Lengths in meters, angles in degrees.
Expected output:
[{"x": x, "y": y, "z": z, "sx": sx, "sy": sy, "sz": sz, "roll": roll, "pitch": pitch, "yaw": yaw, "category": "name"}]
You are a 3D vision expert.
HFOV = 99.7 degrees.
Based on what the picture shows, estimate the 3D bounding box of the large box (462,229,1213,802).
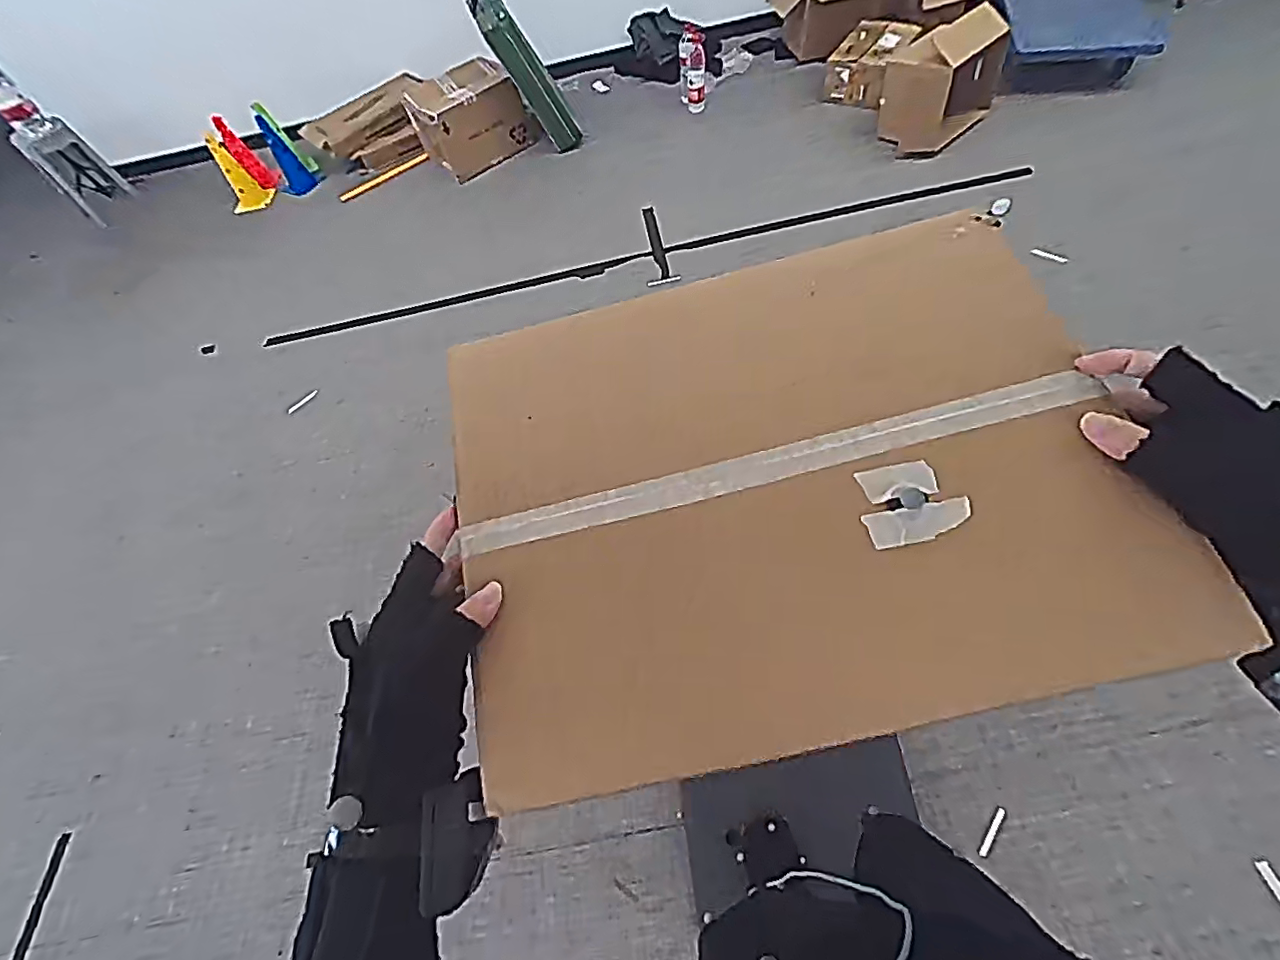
[{"x": 0.103, "y": 0.052, "z": 0.490, "sx": 0.408, "sy": 0.320, "sz": 0.320, "roll": -14, "pitch": 67, "yaw": 2, "category": "large box"}]
